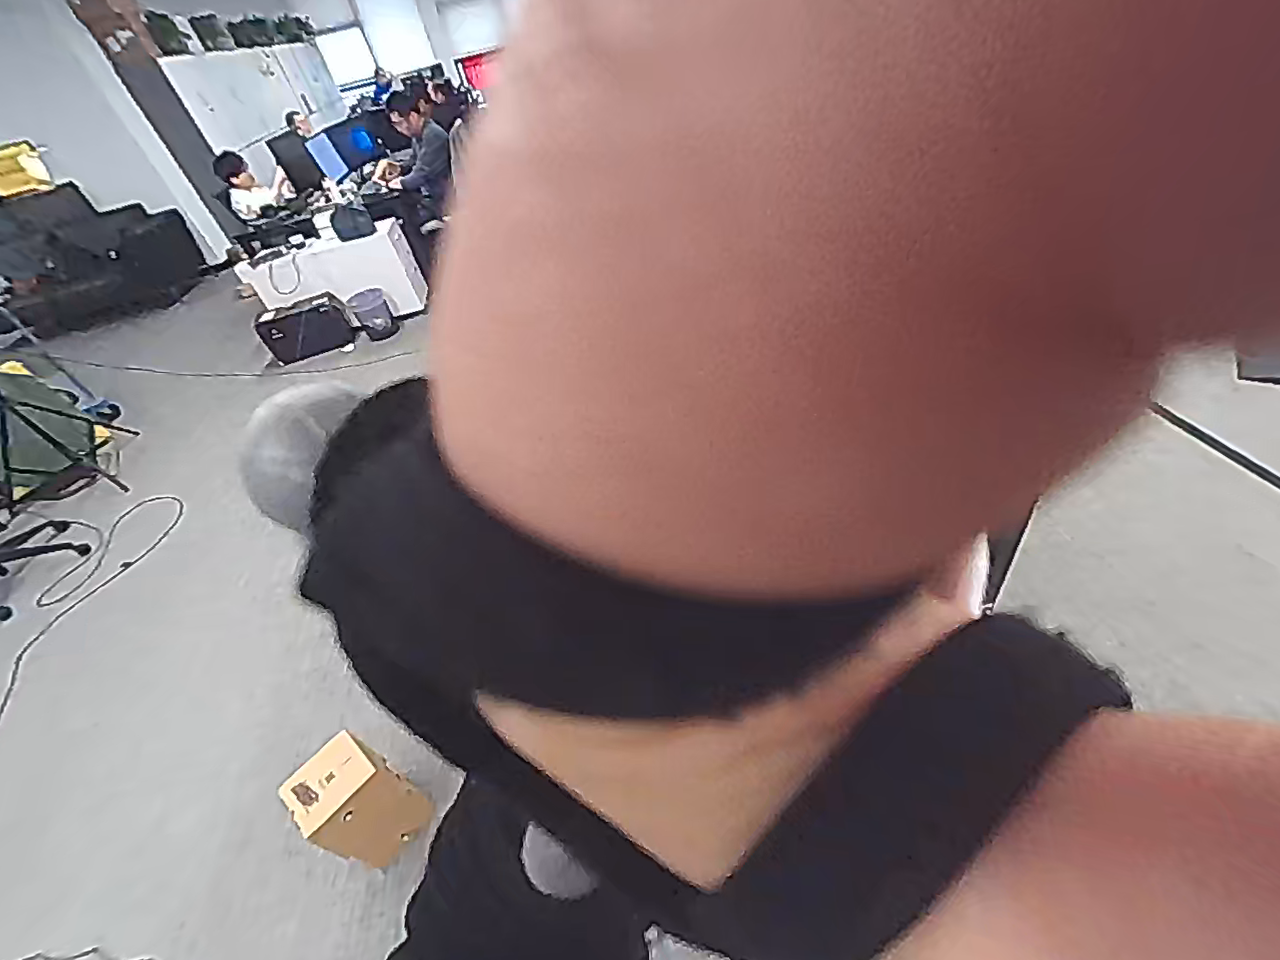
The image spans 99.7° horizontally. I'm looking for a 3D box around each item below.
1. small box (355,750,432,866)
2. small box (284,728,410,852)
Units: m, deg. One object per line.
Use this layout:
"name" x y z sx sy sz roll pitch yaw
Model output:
"small box" -0.674 0.861 1.419 0.168 0.176 0.179 22 52 34
"small box" -0.696 0.747 1.299 0.168 0.176 0.179 24 54 34
